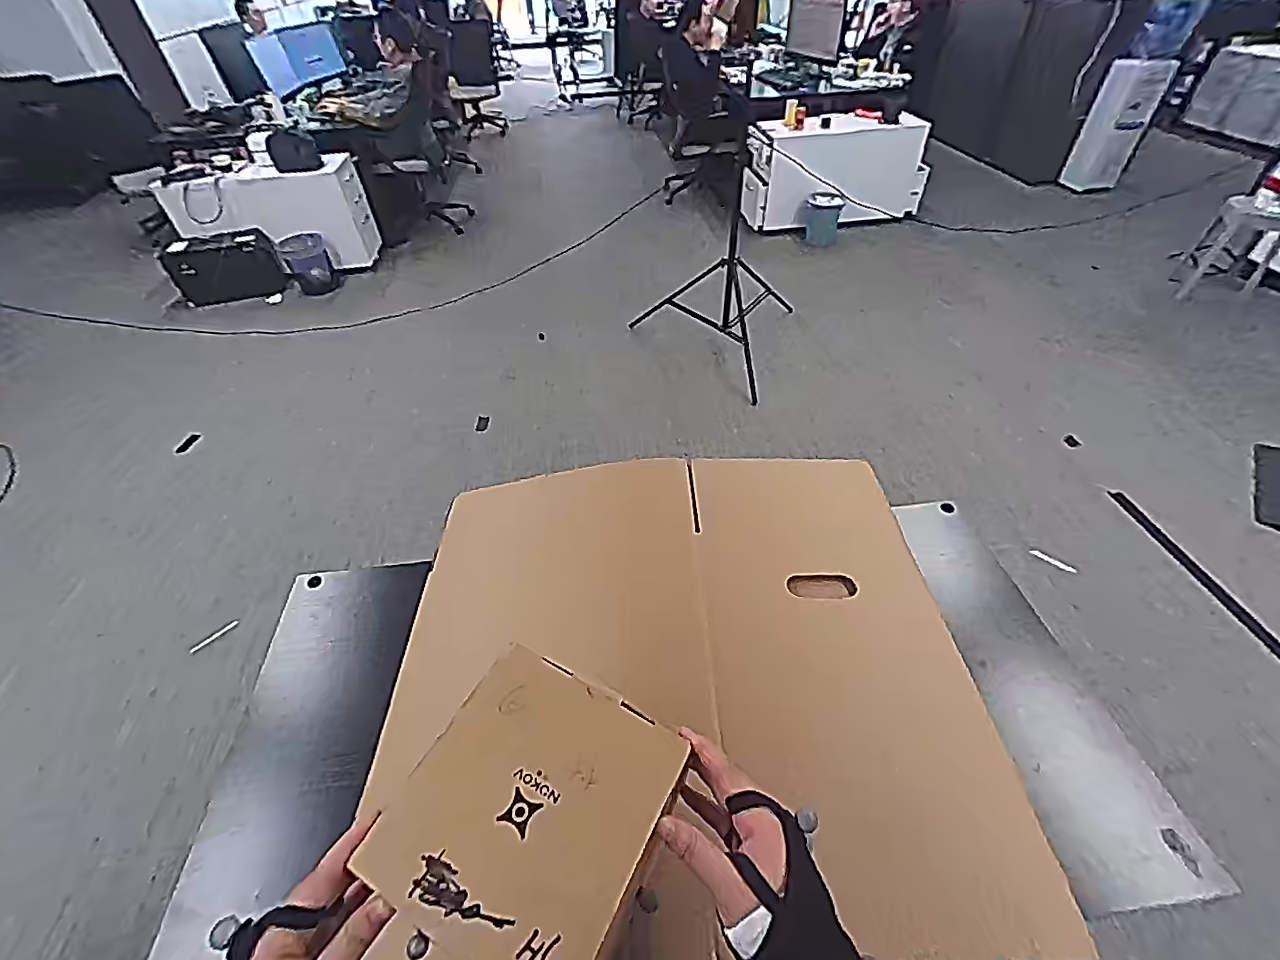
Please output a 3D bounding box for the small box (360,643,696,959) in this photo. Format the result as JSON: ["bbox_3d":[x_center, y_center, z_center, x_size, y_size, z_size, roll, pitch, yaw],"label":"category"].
[{"bbox_3d":[-0.070,0.272,0.427,0.168,0.176,0.179,21,50,21],"label":"small box"}]
